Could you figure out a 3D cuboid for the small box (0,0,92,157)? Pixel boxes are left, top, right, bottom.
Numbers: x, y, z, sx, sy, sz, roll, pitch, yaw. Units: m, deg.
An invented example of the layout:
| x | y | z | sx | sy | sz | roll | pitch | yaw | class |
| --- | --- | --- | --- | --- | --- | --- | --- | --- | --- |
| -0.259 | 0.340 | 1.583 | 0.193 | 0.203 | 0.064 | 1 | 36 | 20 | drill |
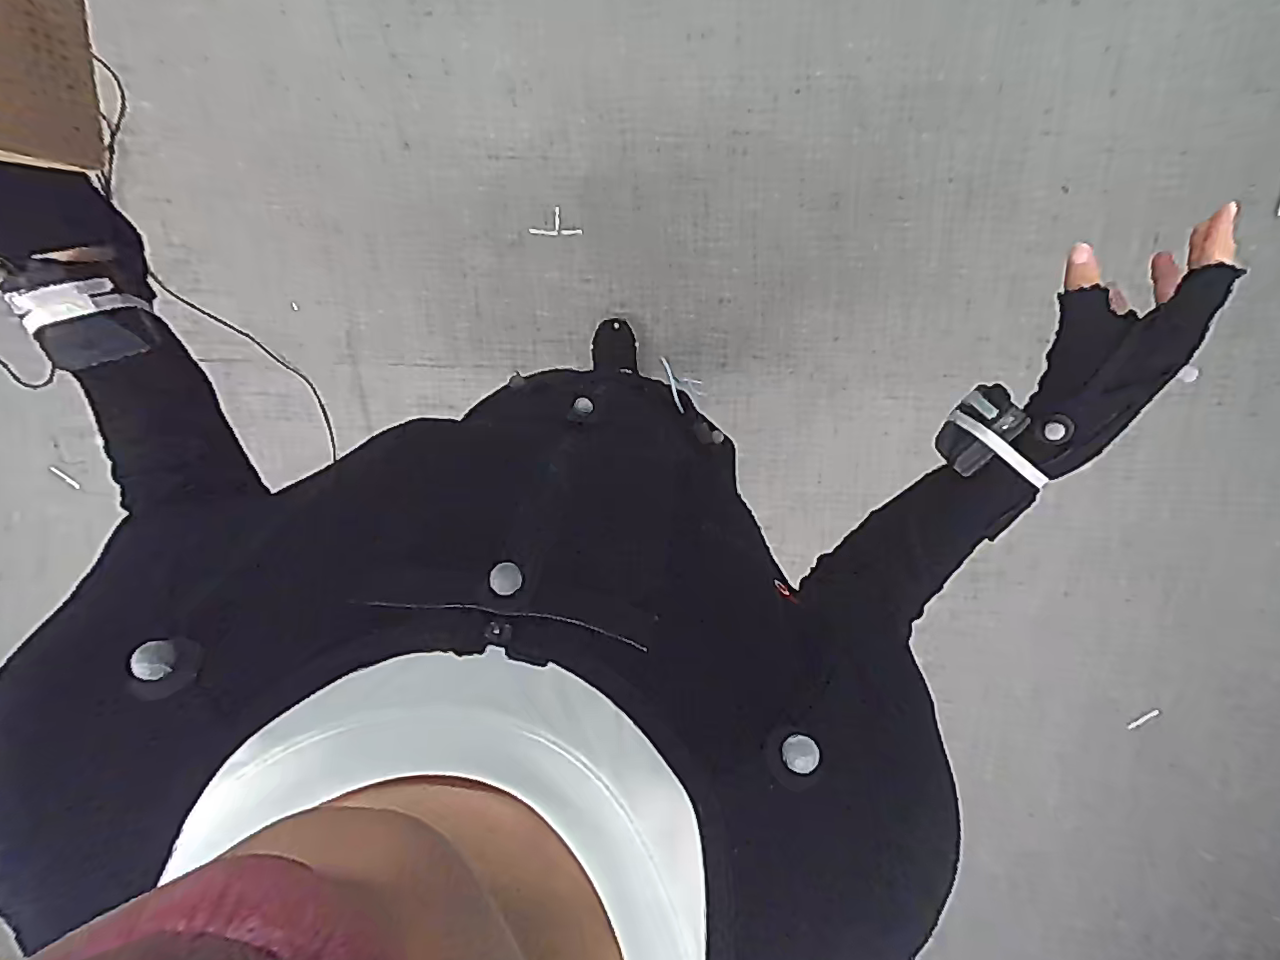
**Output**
| x | y | z | sx | sy | sz | roll | pitch | yaw | class |
| --- | --- | --- | --- | --- | --- | --- | --- | --- | --- |
| -0.366 | -0.246 | 0.195 | 0.168 | 0.176 | 0.179 | 12 | 109 | 4 | small box |
